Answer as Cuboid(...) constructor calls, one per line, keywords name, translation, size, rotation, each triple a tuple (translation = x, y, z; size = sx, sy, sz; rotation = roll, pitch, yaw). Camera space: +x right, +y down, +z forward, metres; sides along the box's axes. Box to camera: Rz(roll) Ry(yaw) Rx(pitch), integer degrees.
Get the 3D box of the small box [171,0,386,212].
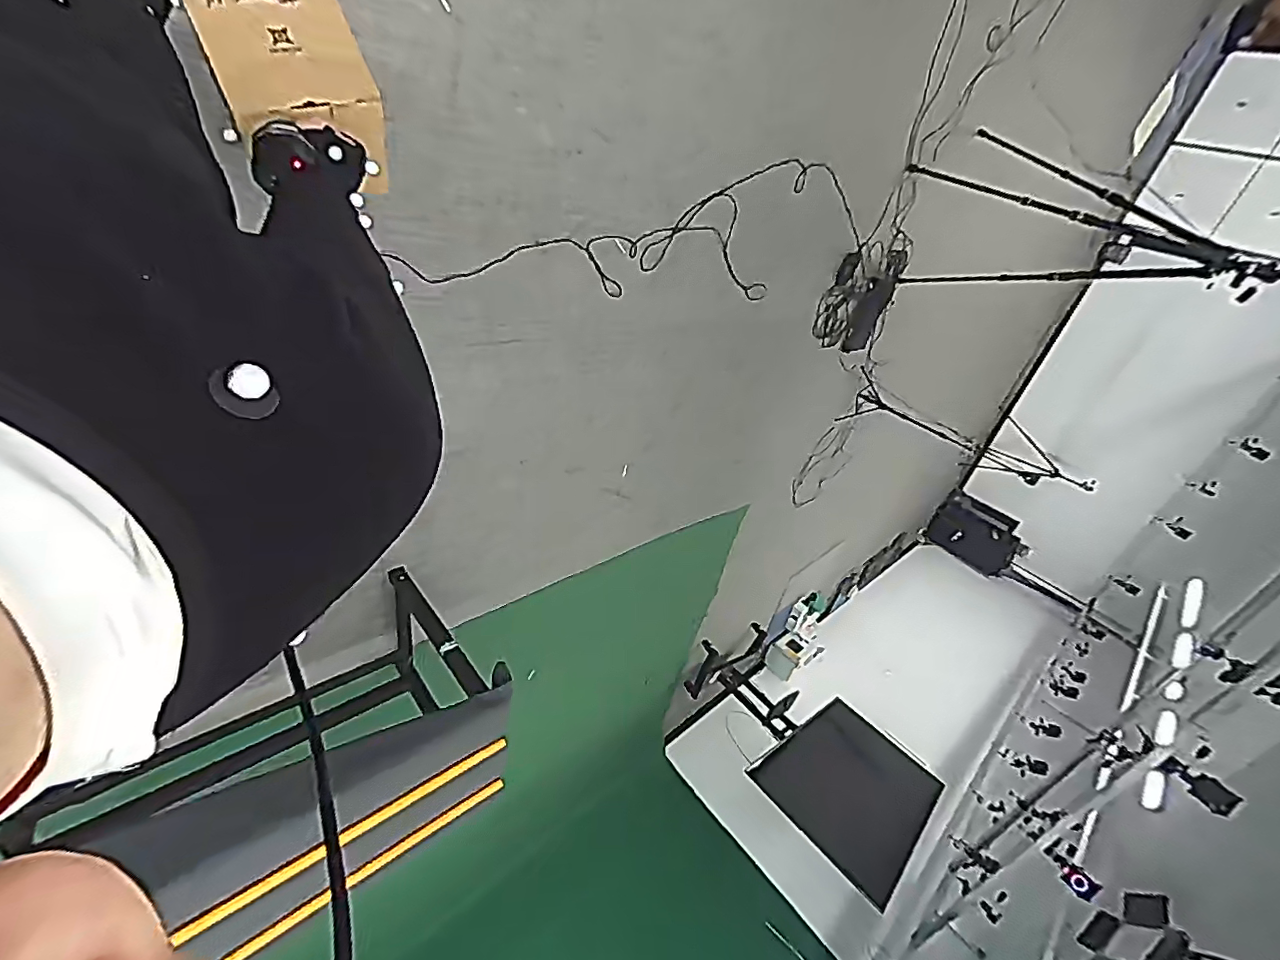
Cuboid(name="small box", translation=(-0.463, -0.490, 0.725), size=(0.168, 0.179, 0.176), rotation=(-27, 176, -23))
